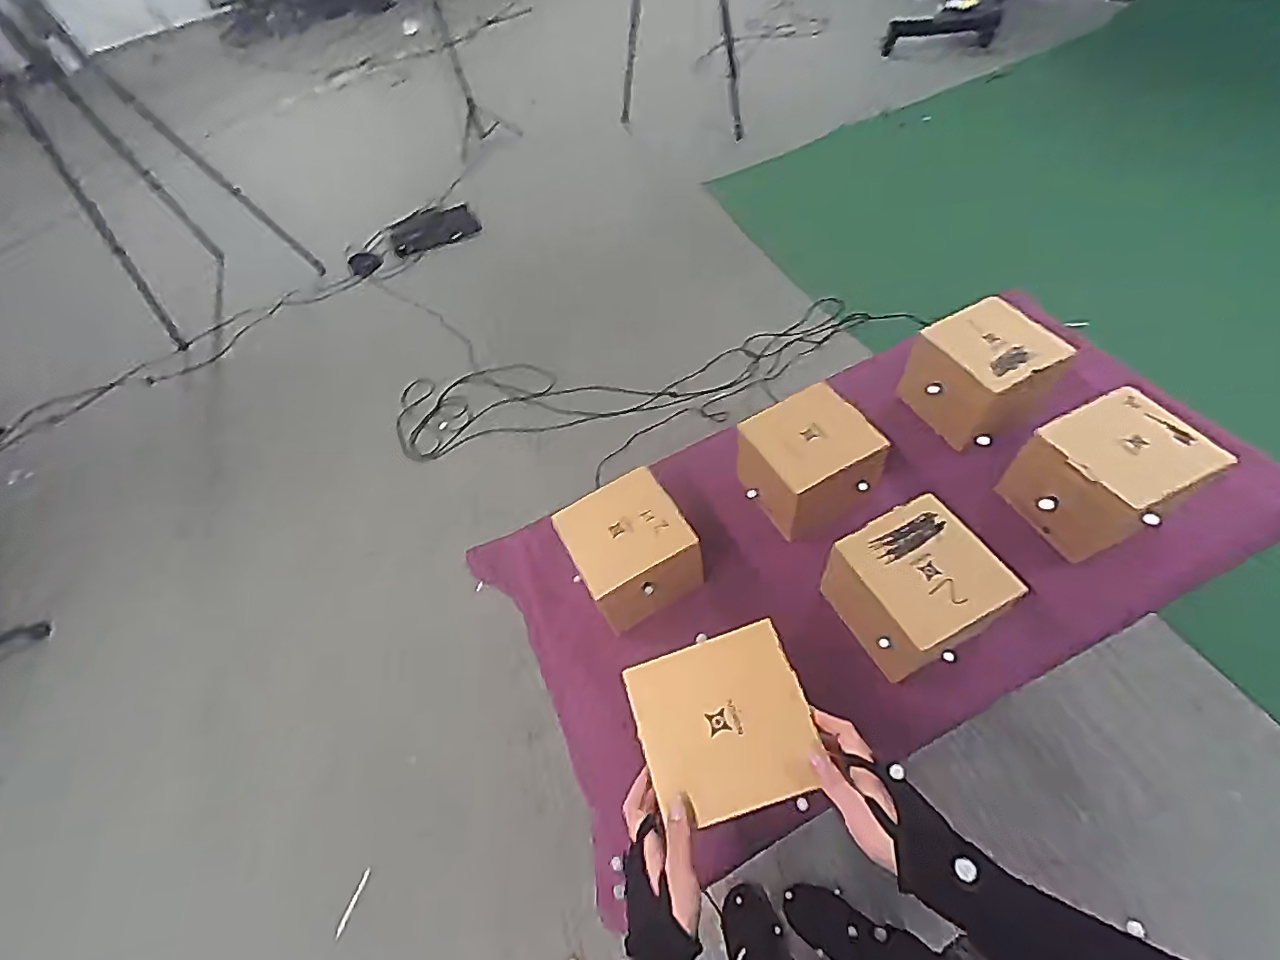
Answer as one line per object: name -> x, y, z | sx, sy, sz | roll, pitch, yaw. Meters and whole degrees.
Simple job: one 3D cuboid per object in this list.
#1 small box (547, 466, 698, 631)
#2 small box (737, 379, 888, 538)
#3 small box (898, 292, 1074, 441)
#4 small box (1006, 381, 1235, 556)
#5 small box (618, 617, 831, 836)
small box -> -0.021, 0.116, 0.875 | 0.179, 0.176, 0.168 | -29, 57, -9
small box -> 0.280, -0.033, 0.919 | 0.179, 0.176, 0.168 | -28, 56, -8
small box -> 0.598, -0.192, 0.963 | 0.168, 0.176, 0.179 | -26, 56, -7
small box -> 0.702, -0.011, 0.823 | 0.179, 0.176, 0.168 | -25, 55, -5
small box -> 0.094, 0.280, 0.611 | 0.179, 0.176, 0.168 | -20, 59, 2
